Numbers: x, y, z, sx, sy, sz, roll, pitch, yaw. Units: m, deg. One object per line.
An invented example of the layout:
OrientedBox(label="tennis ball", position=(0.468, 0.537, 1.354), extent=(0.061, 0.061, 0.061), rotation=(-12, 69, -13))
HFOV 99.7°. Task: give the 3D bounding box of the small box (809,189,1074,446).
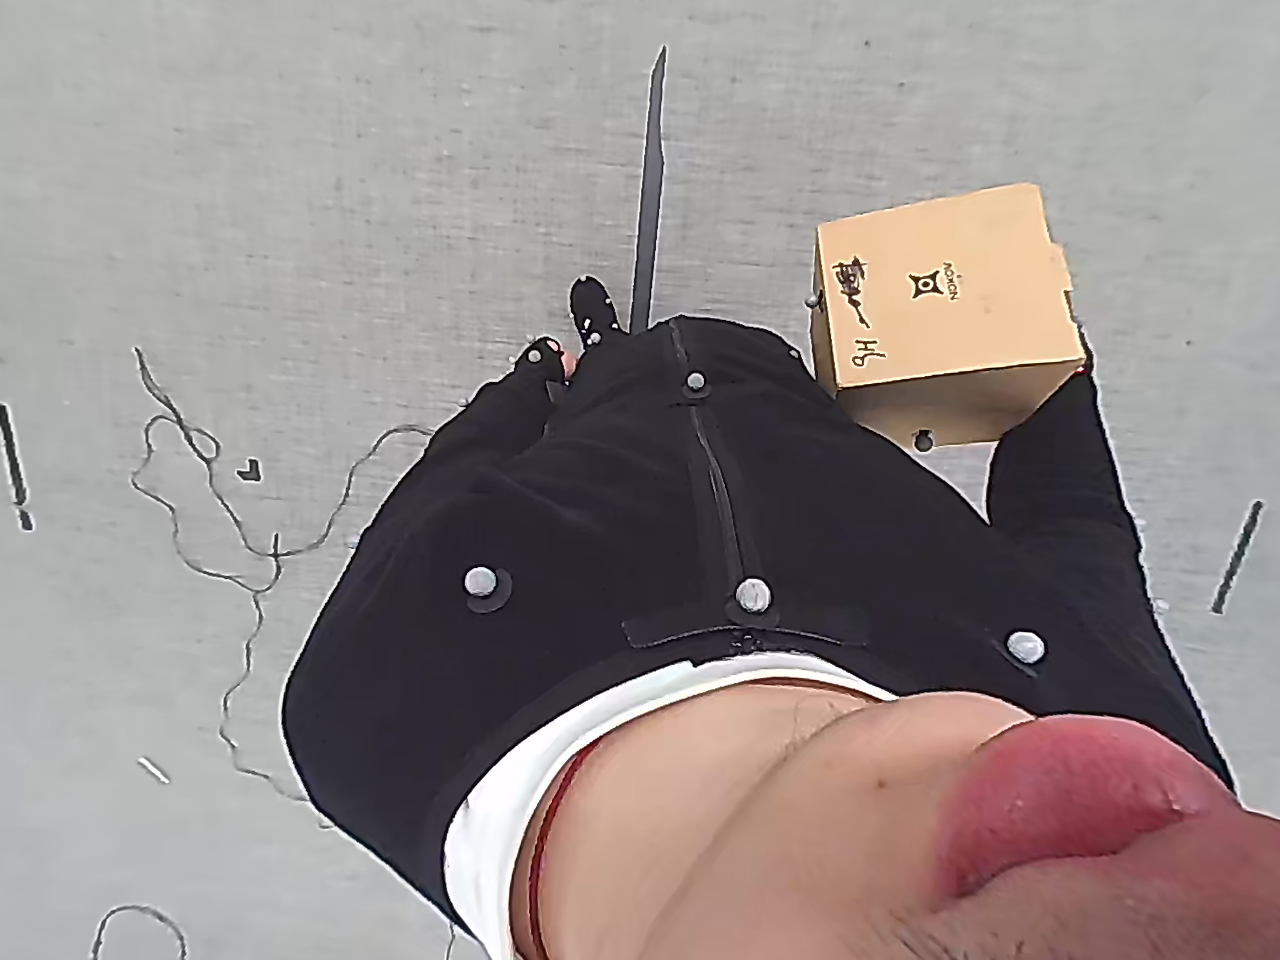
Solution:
OrientedBox(label="small box", position=(0.268, -0.142, 0.529), extent=(0.179, 0.176, 0.168), rotation=(-4, 71, 13))
